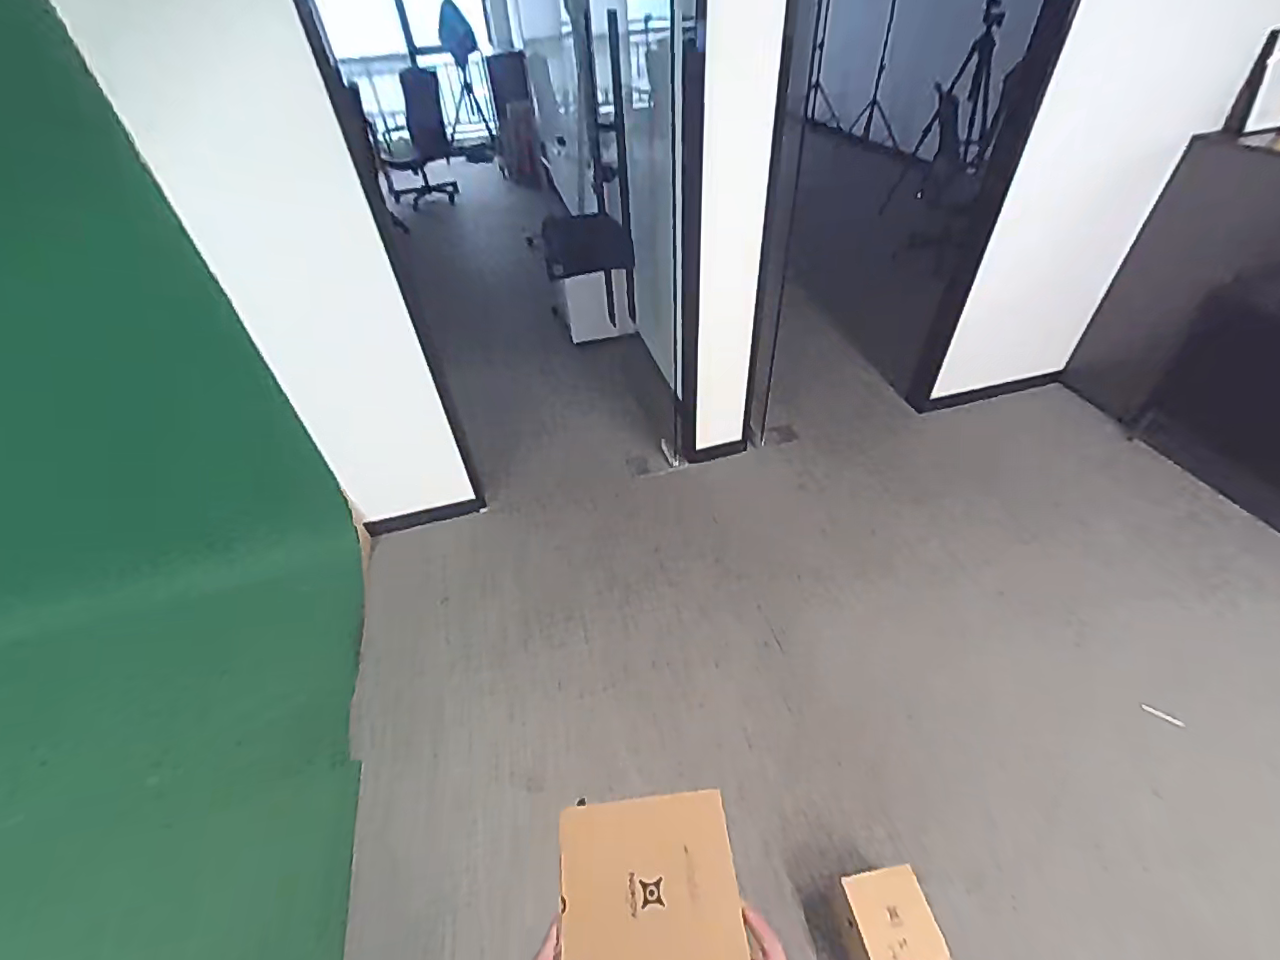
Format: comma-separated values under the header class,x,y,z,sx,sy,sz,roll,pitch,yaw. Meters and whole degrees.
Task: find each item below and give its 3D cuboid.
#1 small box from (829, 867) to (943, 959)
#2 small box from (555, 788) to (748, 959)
class,x,y,z,sx,sy,sz,roll,pitch,yaw
small box,0.535,0.986,1.200,0.168,0.176,0.179,-6,45,1
small box,0.010,0.449,0.578,0.179,0.176,0.168,-5,47,-2
